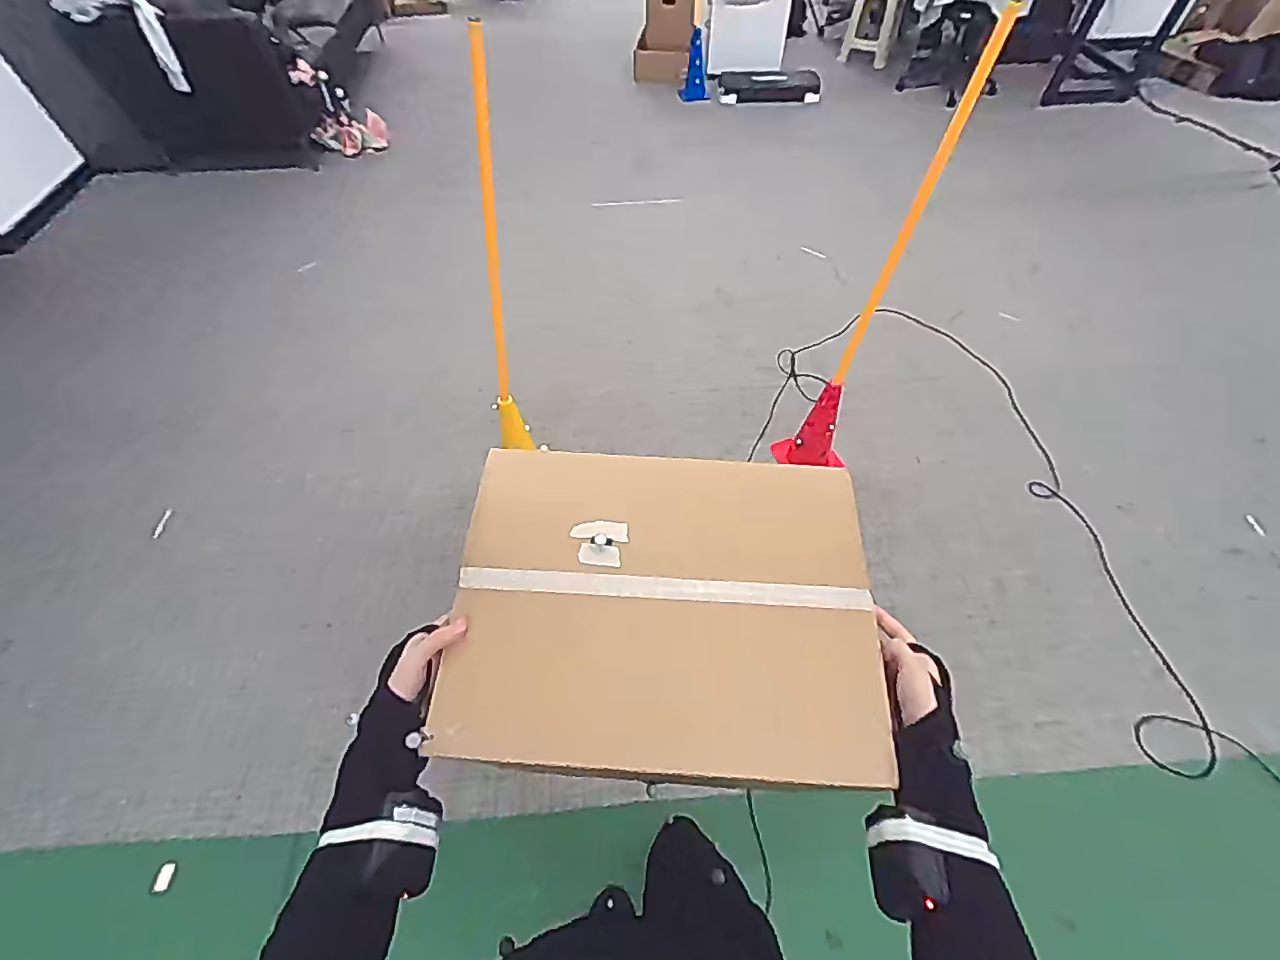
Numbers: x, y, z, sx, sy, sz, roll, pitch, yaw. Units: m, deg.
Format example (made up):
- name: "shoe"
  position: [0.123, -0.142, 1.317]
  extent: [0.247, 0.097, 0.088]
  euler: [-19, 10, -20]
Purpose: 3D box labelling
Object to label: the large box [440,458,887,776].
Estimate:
- name: "large box"
  position: [0.029, 0.187, 0.677]
  extent: [0.408, 0.320, 0.320]
  euler: [3, 59, 2]
